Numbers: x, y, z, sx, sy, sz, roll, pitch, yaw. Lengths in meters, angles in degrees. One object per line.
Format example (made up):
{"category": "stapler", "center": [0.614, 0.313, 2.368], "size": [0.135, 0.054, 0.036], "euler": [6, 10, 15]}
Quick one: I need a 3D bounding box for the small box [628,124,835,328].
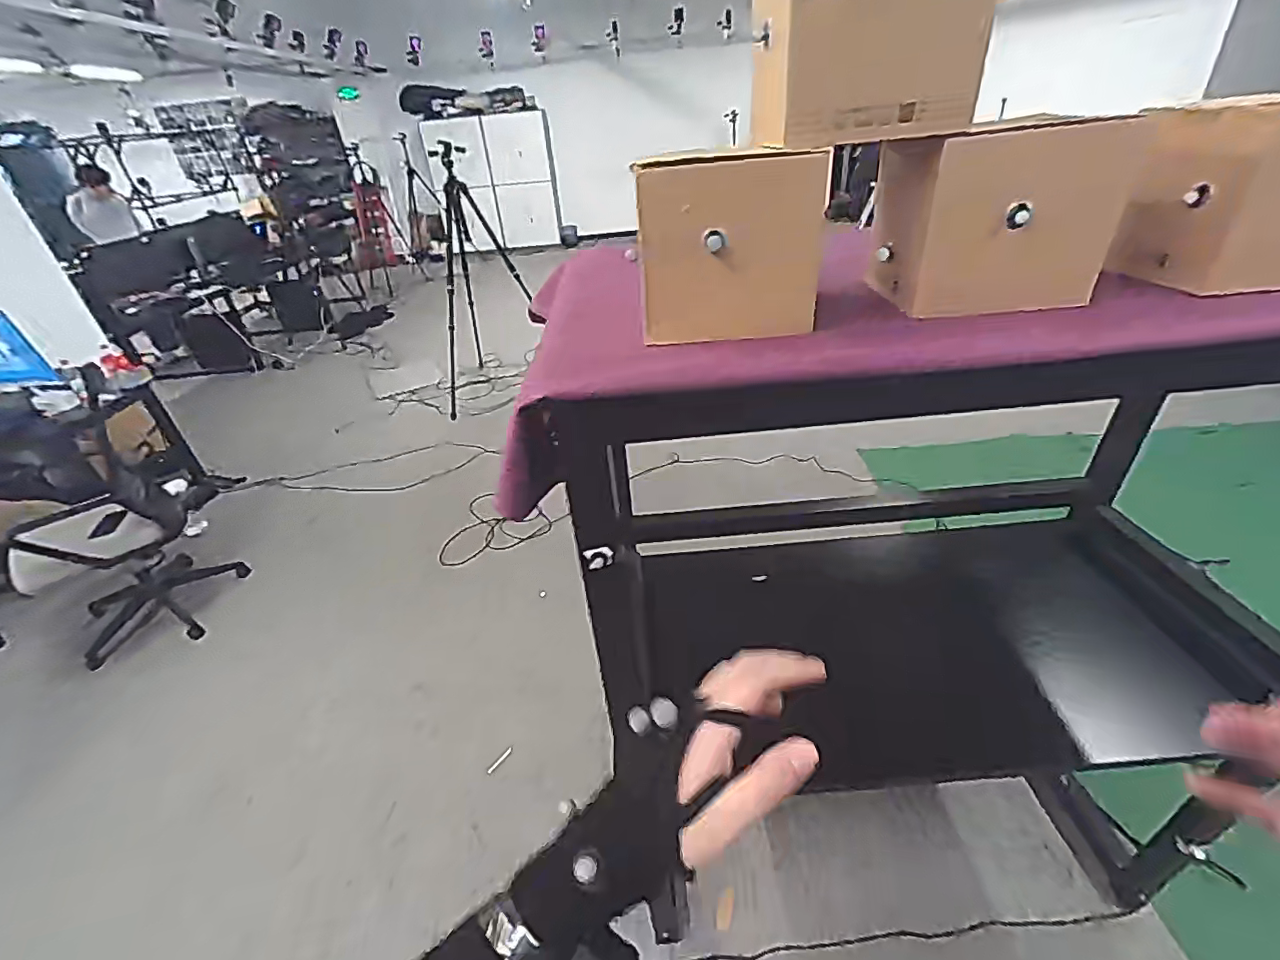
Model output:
{"category": "small box", "center": [0.084, -0.263, 0.561], "size": [0.179, 0.176, 0.168], "euler": [-1, 35, 3]}

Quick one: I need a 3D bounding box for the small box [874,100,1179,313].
{"category": "small box", "center": [0.364, -0.281, 0.555], "size": [0.179, 0.176, 0.168], "euler": [-2, 34, 6]}

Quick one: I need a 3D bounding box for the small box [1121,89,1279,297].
{"category": "small box", "center": [0.640, -0.289, 0.541], "size": [0.179, 0.176, 0.168], "euler": [-3, 34, 2]}
